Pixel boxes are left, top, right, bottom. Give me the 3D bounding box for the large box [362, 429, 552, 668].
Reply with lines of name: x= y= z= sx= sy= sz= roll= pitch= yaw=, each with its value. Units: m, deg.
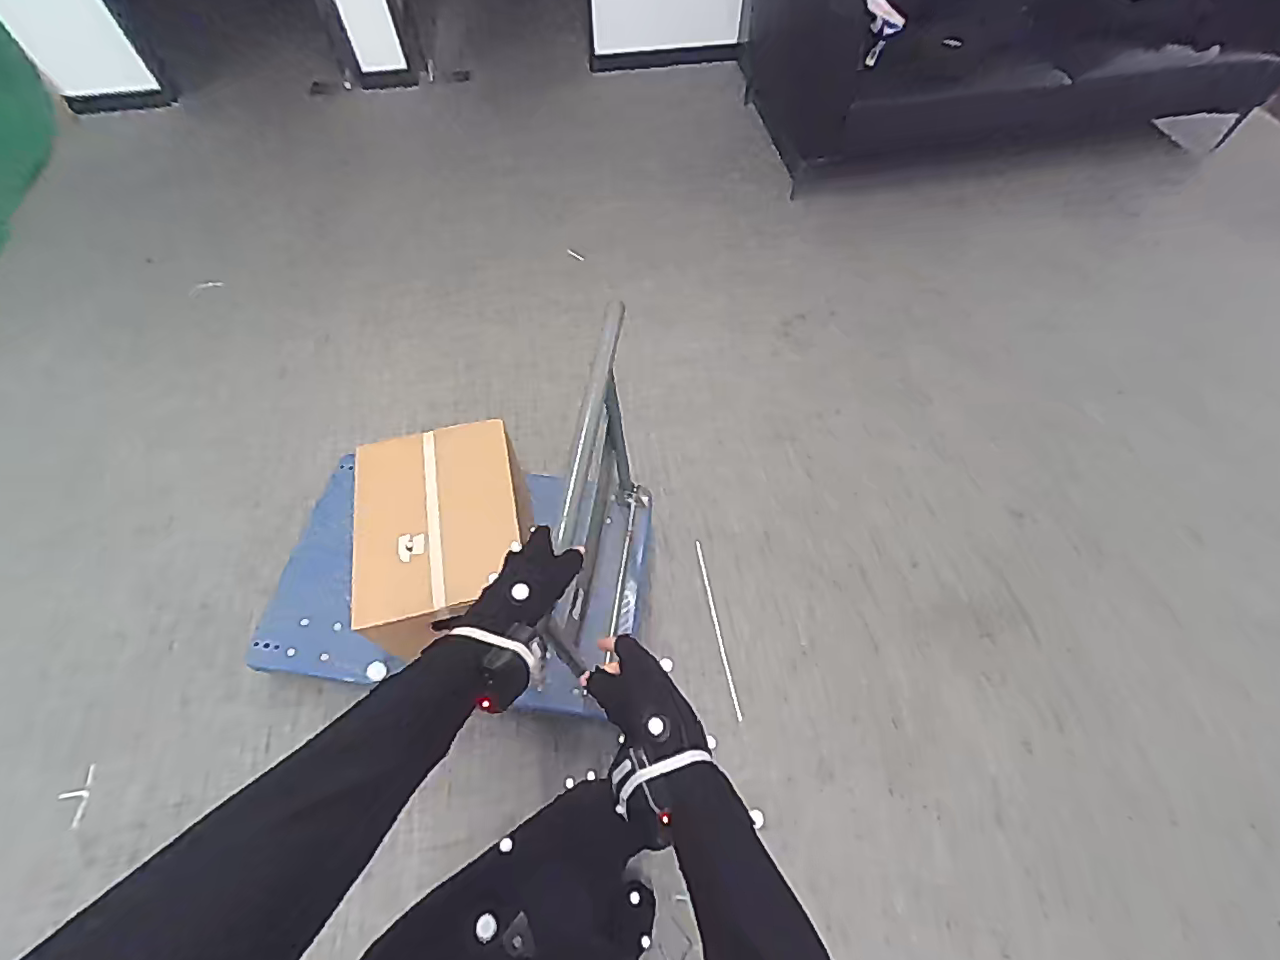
large box: x=-0.397 y=0.156 z=1.205 sx=0.320 sy=0.320 sz=0.408 roll=-13 pitch=60 yaw=-7
